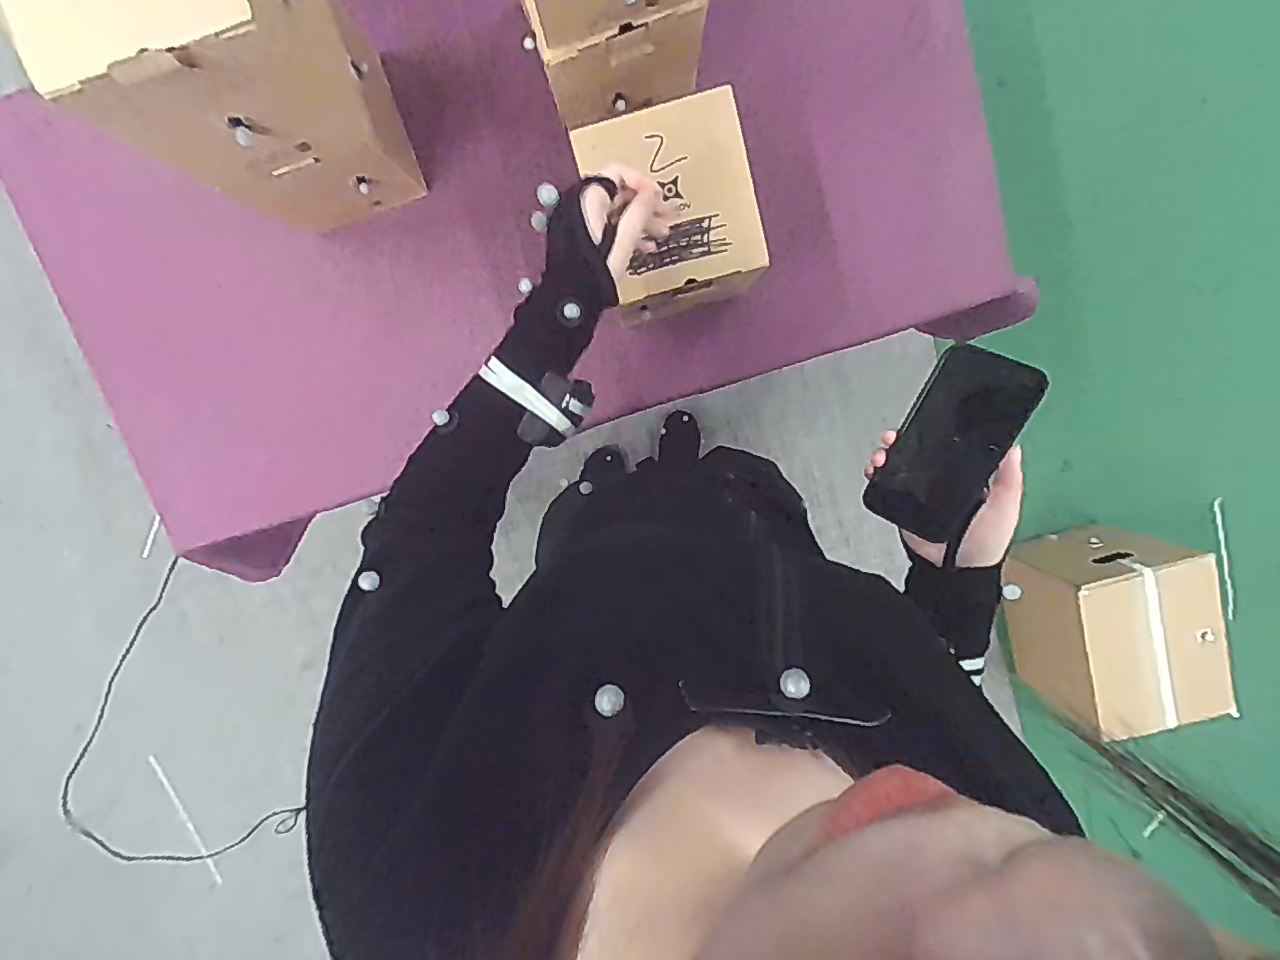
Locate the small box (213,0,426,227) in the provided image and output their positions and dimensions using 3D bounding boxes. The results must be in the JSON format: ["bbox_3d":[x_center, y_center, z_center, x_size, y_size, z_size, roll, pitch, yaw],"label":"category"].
[{"bbox_3d":[-0.369,-0.406,0.607,0.168,0.176,0.179,-17,99,2],"label":"small box"}]

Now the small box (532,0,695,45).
[{"bbox_3d":[-0.036,-0.501,0.420,0.168,0.176,0.179,-17,100,4],"label":"small box"}]

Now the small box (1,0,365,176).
[{"bbox_3d":[-0.363,-0.378,0.444,0.168,0.176,0.179,-17,99,2],"label":"small box"}]

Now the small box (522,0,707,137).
[{"bbox_3d":[-0.040,-0.520,0.584,0.168,0.176,0.179,-19,100,4],"label":"small box"}]
